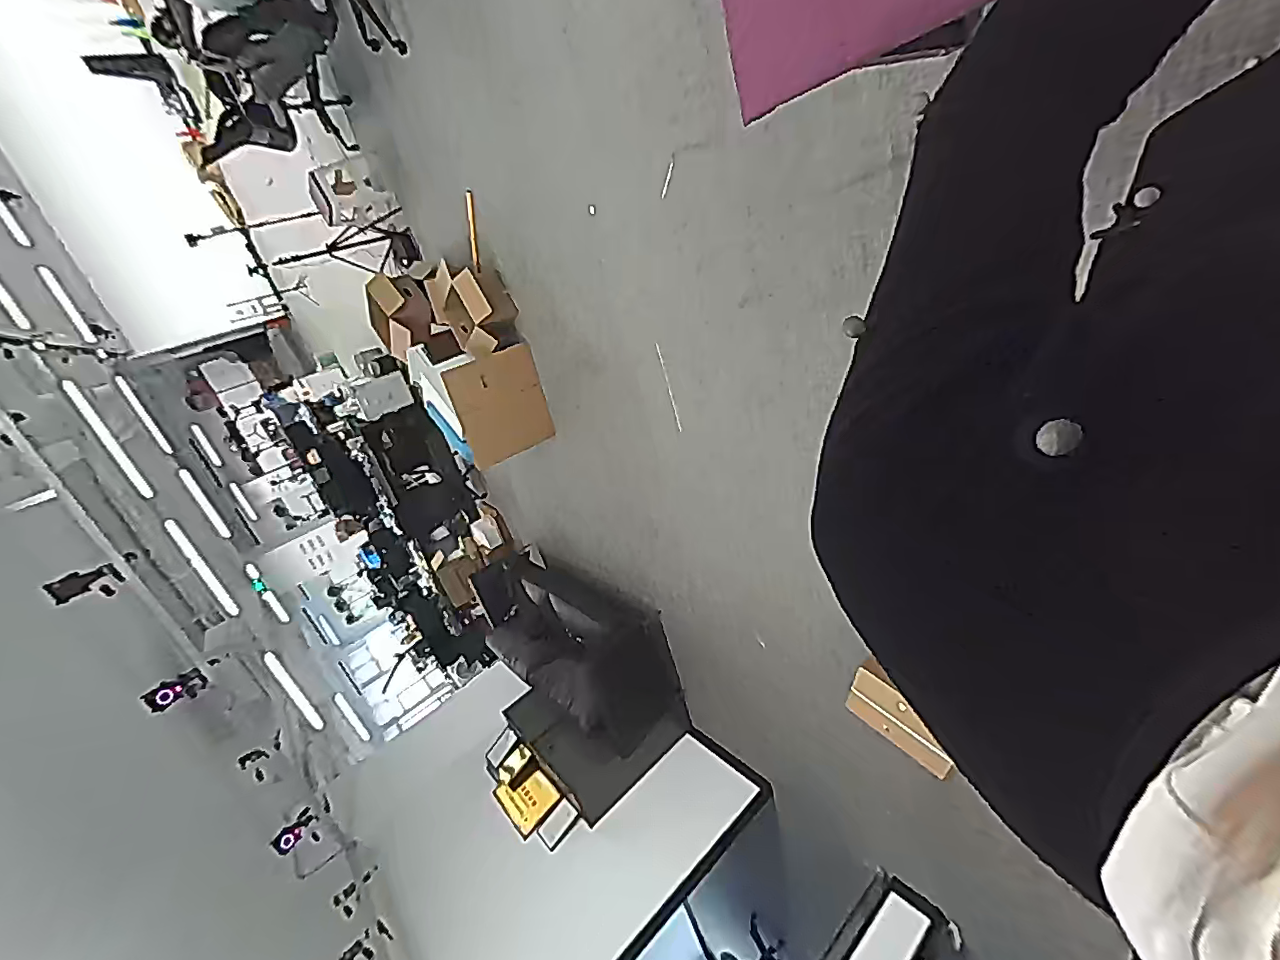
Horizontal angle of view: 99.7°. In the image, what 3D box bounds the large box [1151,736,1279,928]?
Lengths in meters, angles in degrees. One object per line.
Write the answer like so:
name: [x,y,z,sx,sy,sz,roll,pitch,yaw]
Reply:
large box: [1.621,0.868,1.329,0.320,0.320,0.408,55,149,4]
